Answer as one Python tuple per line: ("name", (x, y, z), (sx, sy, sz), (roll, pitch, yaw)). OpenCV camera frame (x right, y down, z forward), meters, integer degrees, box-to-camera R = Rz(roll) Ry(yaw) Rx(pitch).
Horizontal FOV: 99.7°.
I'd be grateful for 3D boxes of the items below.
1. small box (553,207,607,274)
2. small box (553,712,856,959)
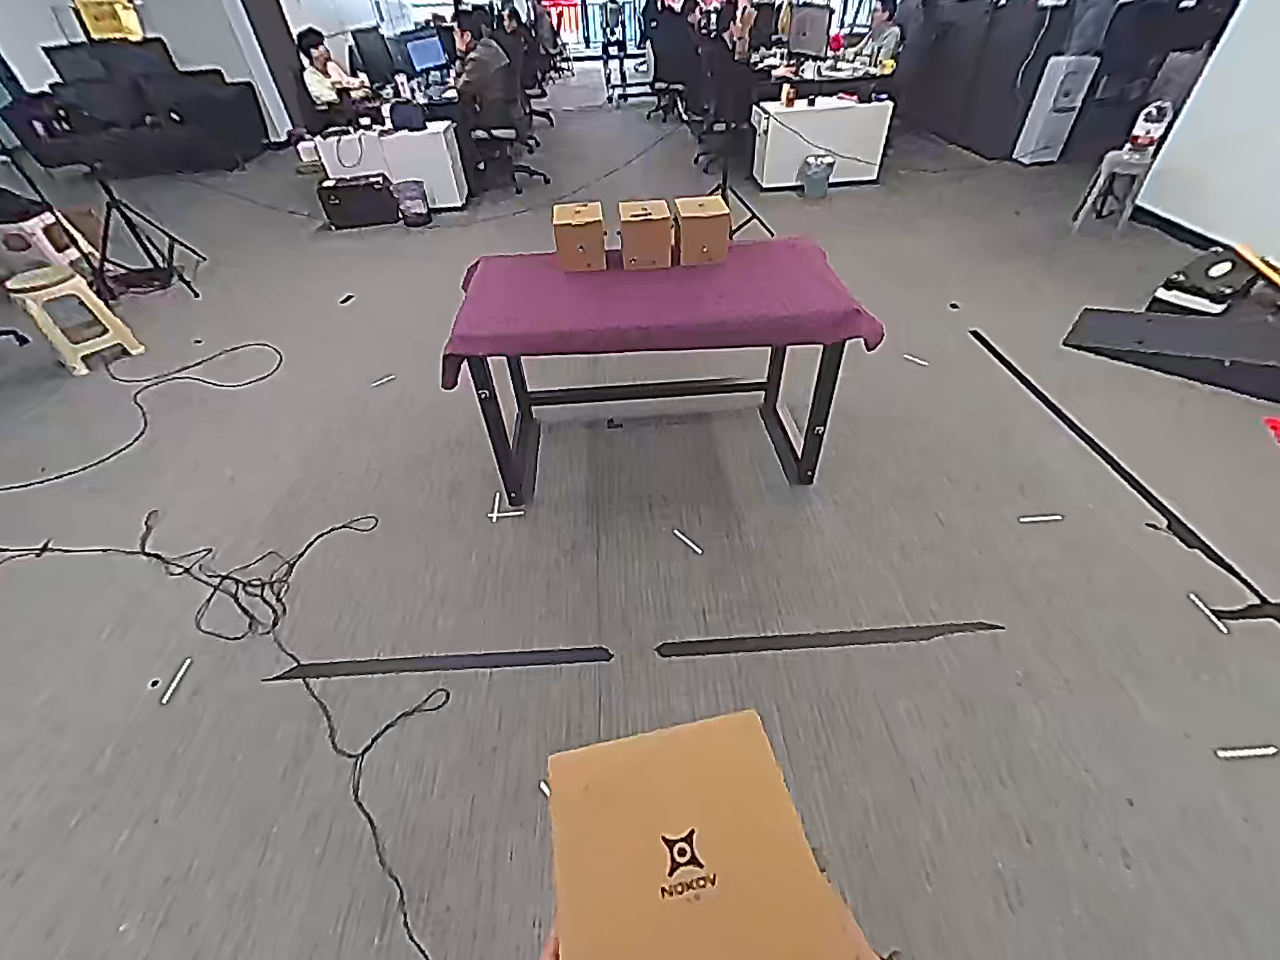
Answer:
("small box", (-0.207, -0.832, 1.889), (0.168, 0.176, 0.179), (-5, 46, -2))
("small box", (0.032, 0.308, 0.396), (0.168, 0.176, 0.179), (-9, 38, -8))
